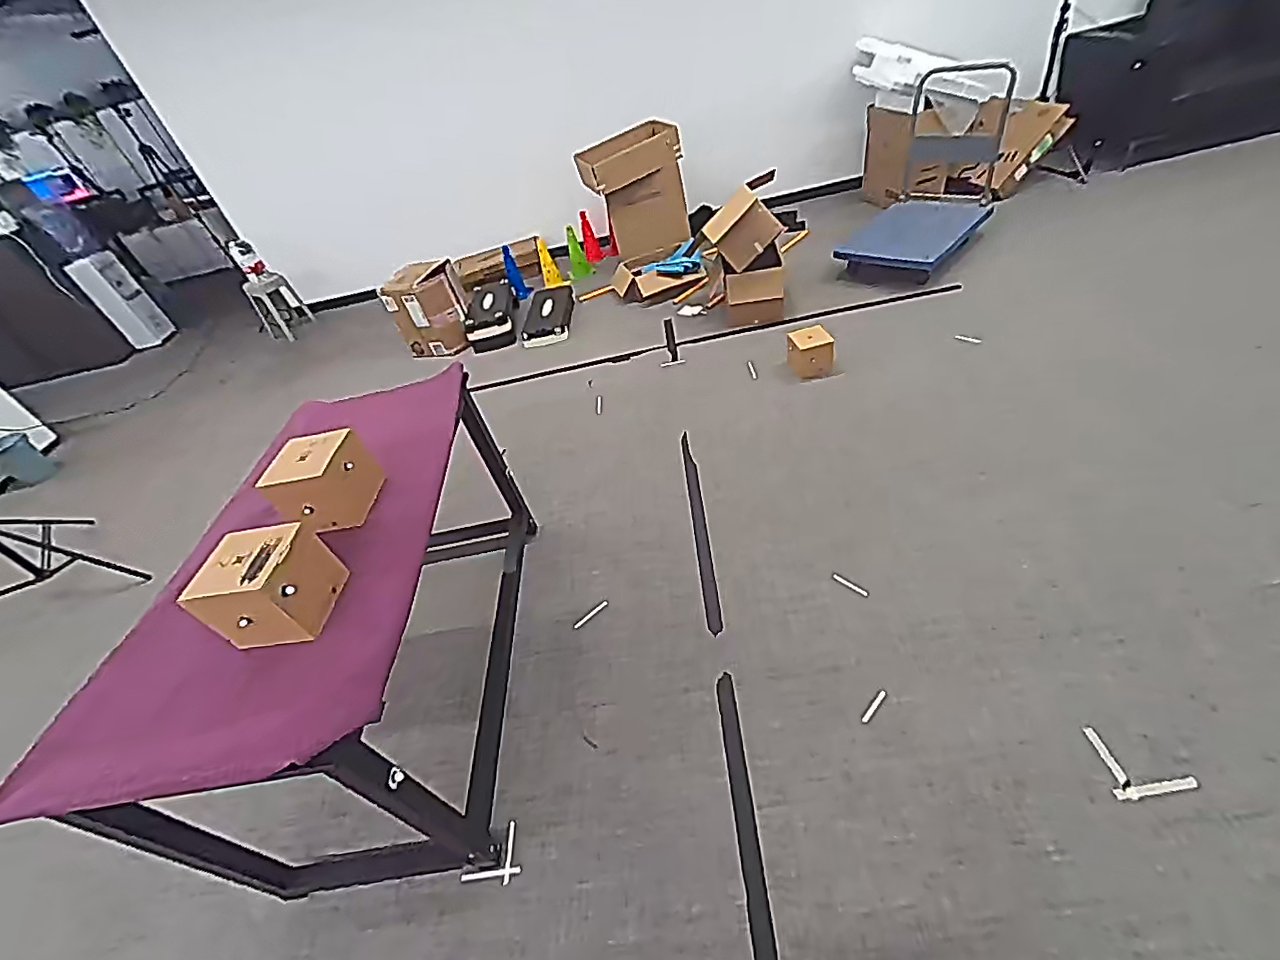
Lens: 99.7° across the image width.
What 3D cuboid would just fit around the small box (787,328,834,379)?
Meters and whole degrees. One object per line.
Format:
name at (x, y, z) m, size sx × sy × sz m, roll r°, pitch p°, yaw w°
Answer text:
small box at (0.828, -0.605, 2.621) m, size 0.168 × 0.176 × 0.179 m, roll -15°, pitch 41°, yaw 0°

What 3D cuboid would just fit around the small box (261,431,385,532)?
small box at (-0.747, 0.011, 1.301) m, size 0.168 × 0.176 × 0.179 m, roll -9°, pitch 41°, yaw 7°
